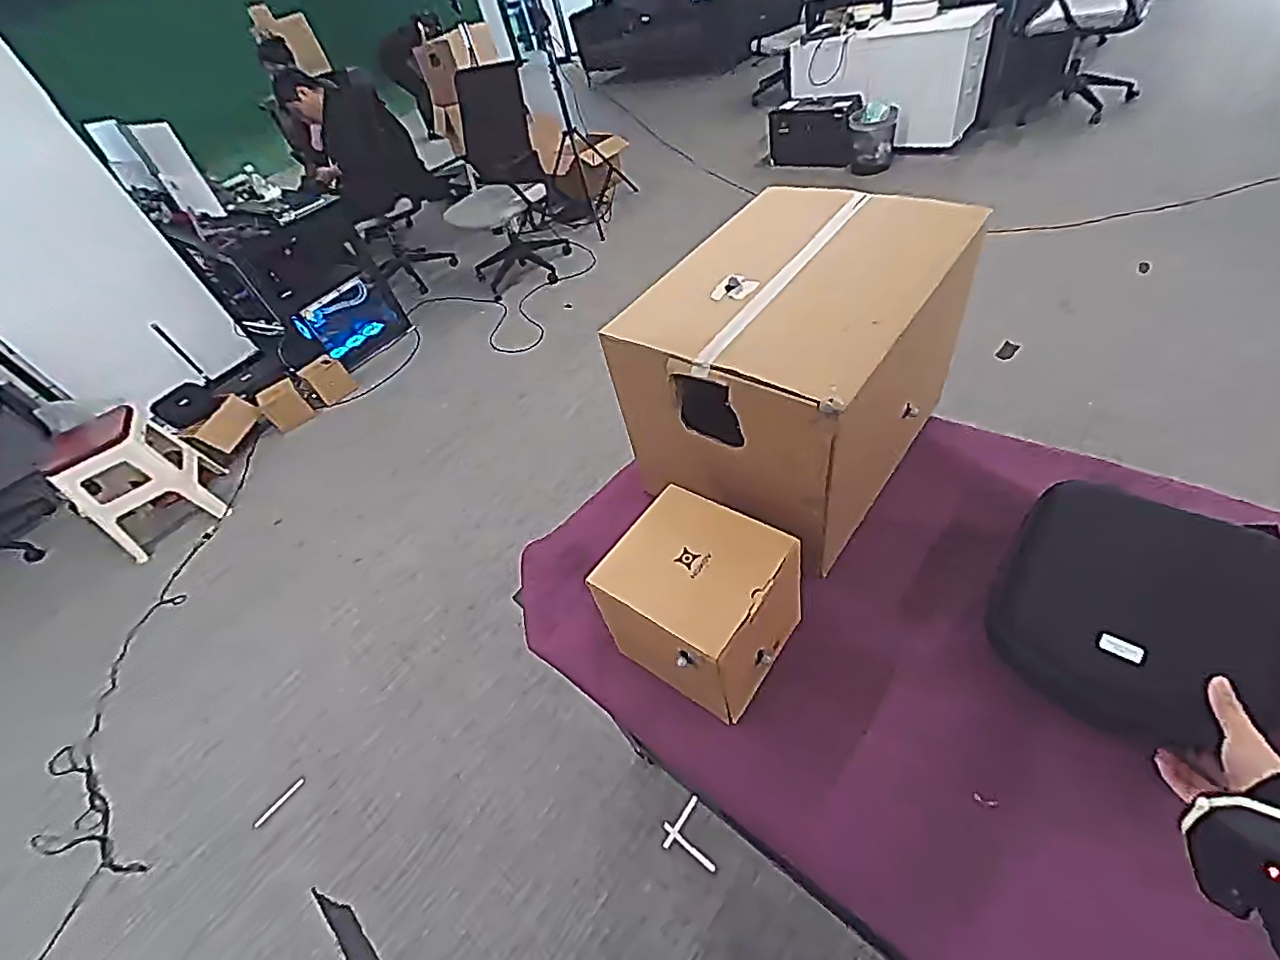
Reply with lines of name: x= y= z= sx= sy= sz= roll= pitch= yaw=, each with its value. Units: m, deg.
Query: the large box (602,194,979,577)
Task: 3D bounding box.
large box: x=0.216 y=-0.148 z=0.772 sx=0.320 sy=0.320 sz=0.408 roll=25 pitch=61 yaw=32

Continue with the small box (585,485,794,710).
small box: x=0.066 y=0.141 z=0.646 sx=0.179 sy=0.176 sz=0.168 roll=23 pitch=57 yaw=32
